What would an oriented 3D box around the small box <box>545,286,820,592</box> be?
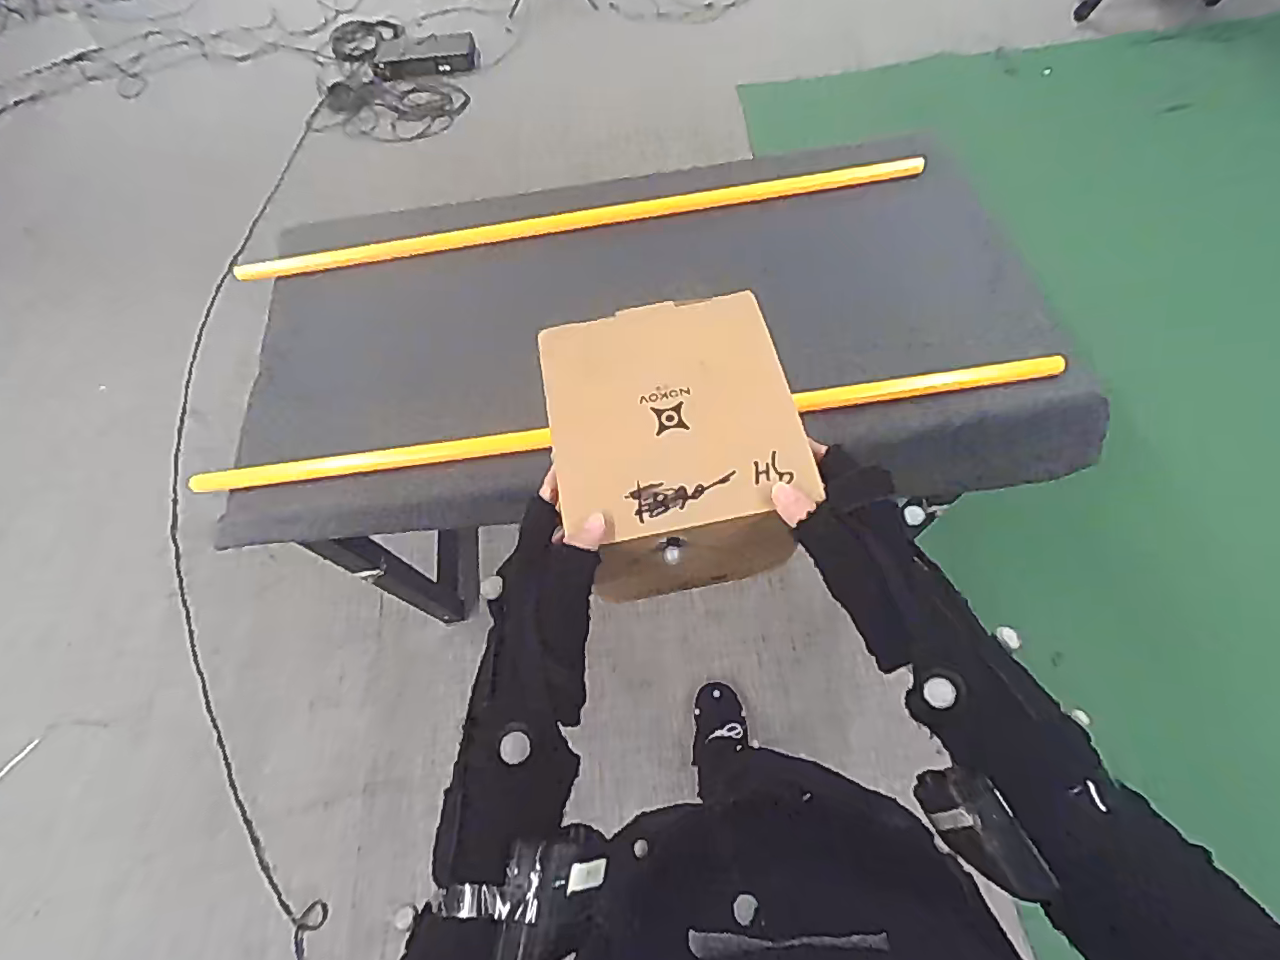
[{"bbox_3d":[0.027,-0.023,0.447,0.168,0.176,0.179,-12,65,1],"label":"small box"}]
